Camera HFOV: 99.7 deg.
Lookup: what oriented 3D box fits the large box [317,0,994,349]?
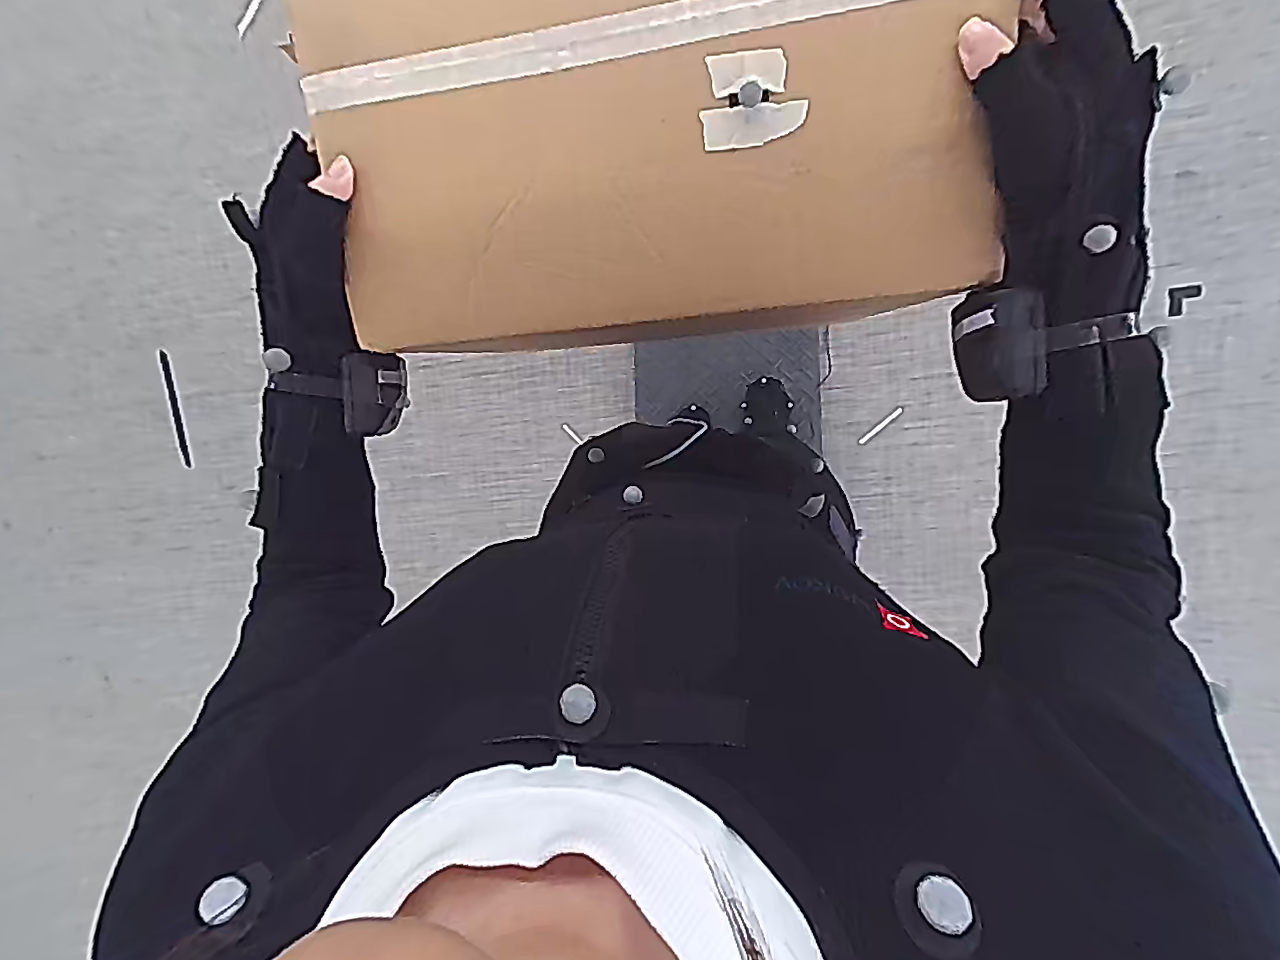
[{"bbox_3d":[0.015,-0.294,0.466,0.408,0.320,0.320,-4,103,8],"label":"large box"}]
